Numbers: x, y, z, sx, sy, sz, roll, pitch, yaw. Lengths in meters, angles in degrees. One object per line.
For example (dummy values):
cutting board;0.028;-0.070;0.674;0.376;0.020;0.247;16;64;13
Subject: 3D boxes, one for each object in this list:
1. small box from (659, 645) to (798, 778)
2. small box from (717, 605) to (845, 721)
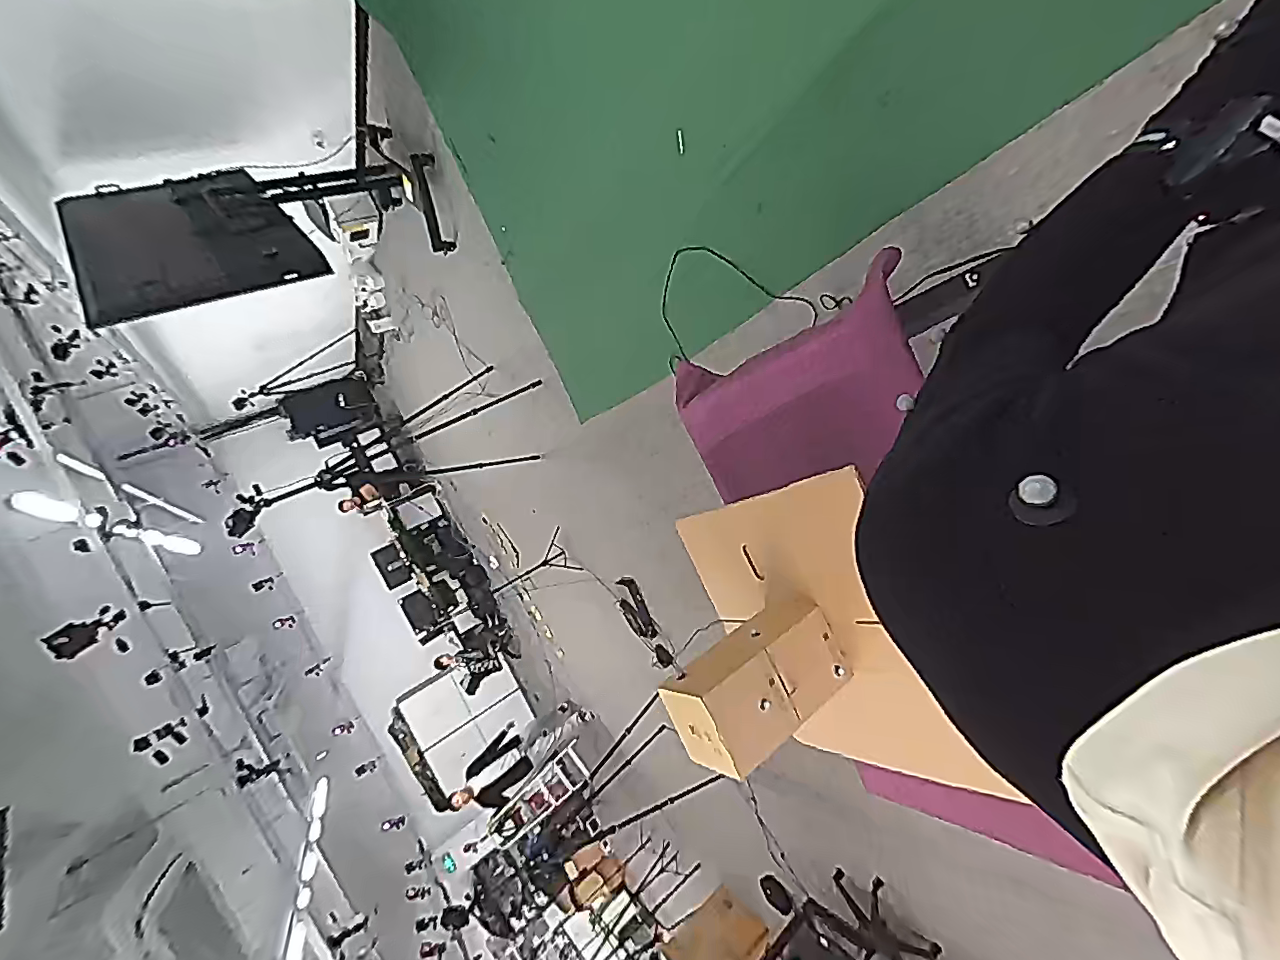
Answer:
small box;0.172;0.439;1.060;0.179;0.176;0.168;-27;89;60
small box;0.302;0.375;1.139;0.168;0.176;0.179;64;151;1
